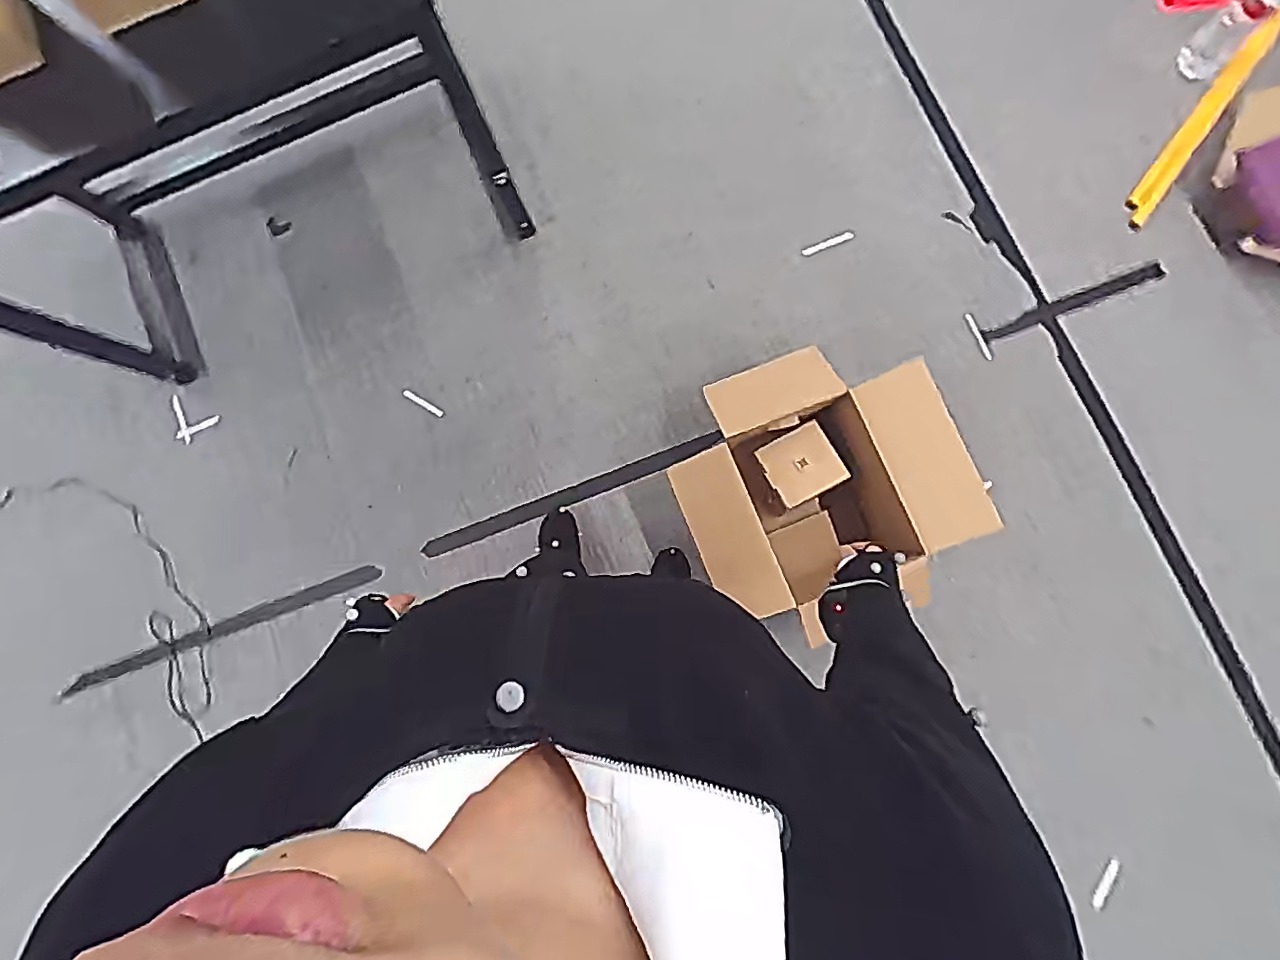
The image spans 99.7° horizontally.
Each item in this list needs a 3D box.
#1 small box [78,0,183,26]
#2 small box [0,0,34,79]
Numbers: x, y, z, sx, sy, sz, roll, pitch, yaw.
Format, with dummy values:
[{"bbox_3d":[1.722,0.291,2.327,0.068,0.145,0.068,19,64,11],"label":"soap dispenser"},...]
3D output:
[{"bbox_3d":[-0.874,-0.889,0.865,0.179,0.176,0.168,-21,83,2],"label":"small box"},{"bbox_3d":[-1.144,-0.777,0.868,0.179,0.176,0.168,-23,82,0],"label":"small box"}]
